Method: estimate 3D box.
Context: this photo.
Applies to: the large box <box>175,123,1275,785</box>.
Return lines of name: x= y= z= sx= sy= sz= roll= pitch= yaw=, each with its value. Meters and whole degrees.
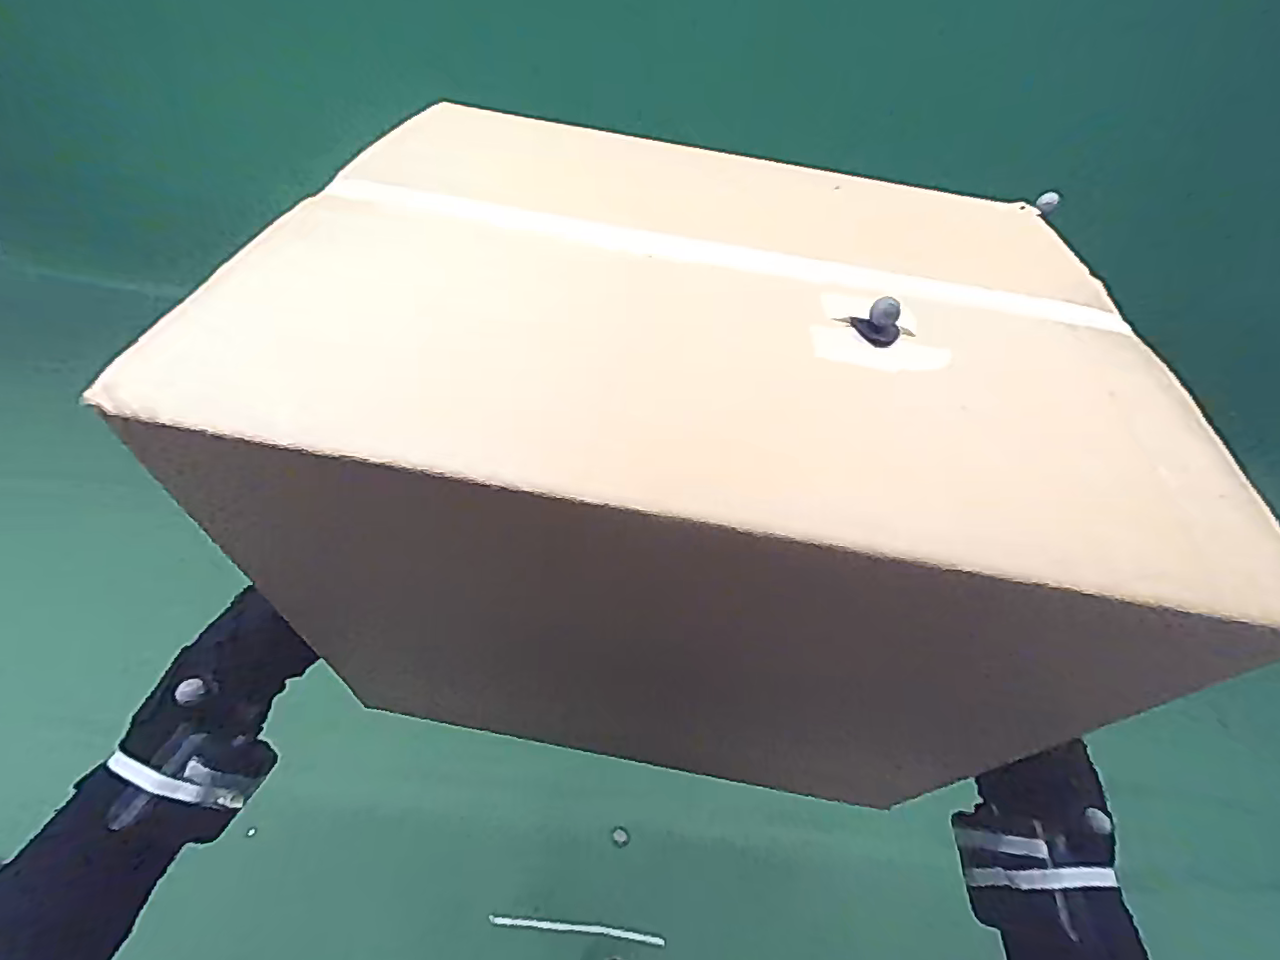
large box: x=0.032 y=-0.009 z=0.397 sx=0.408 sy=0.320 sz=0.320 roll=11 pitch=50 yaw=1
